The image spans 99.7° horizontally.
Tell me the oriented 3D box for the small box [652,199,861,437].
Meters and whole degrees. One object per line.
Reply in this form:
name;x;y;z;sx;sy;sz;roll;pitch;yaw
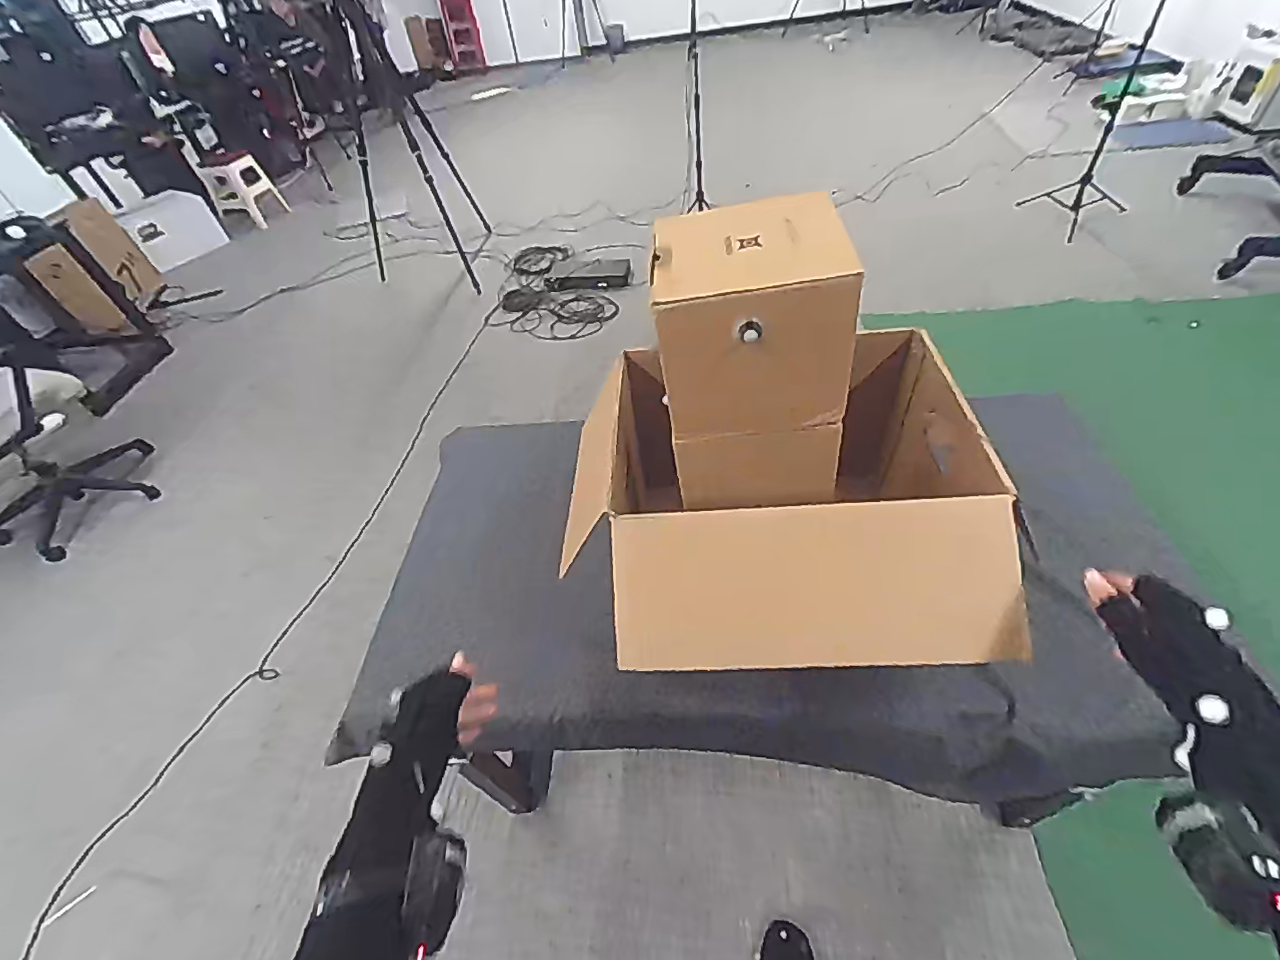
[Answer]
small box;0.111;-0.160;0.561;0.179;0.176;0.168;-5;49;7
